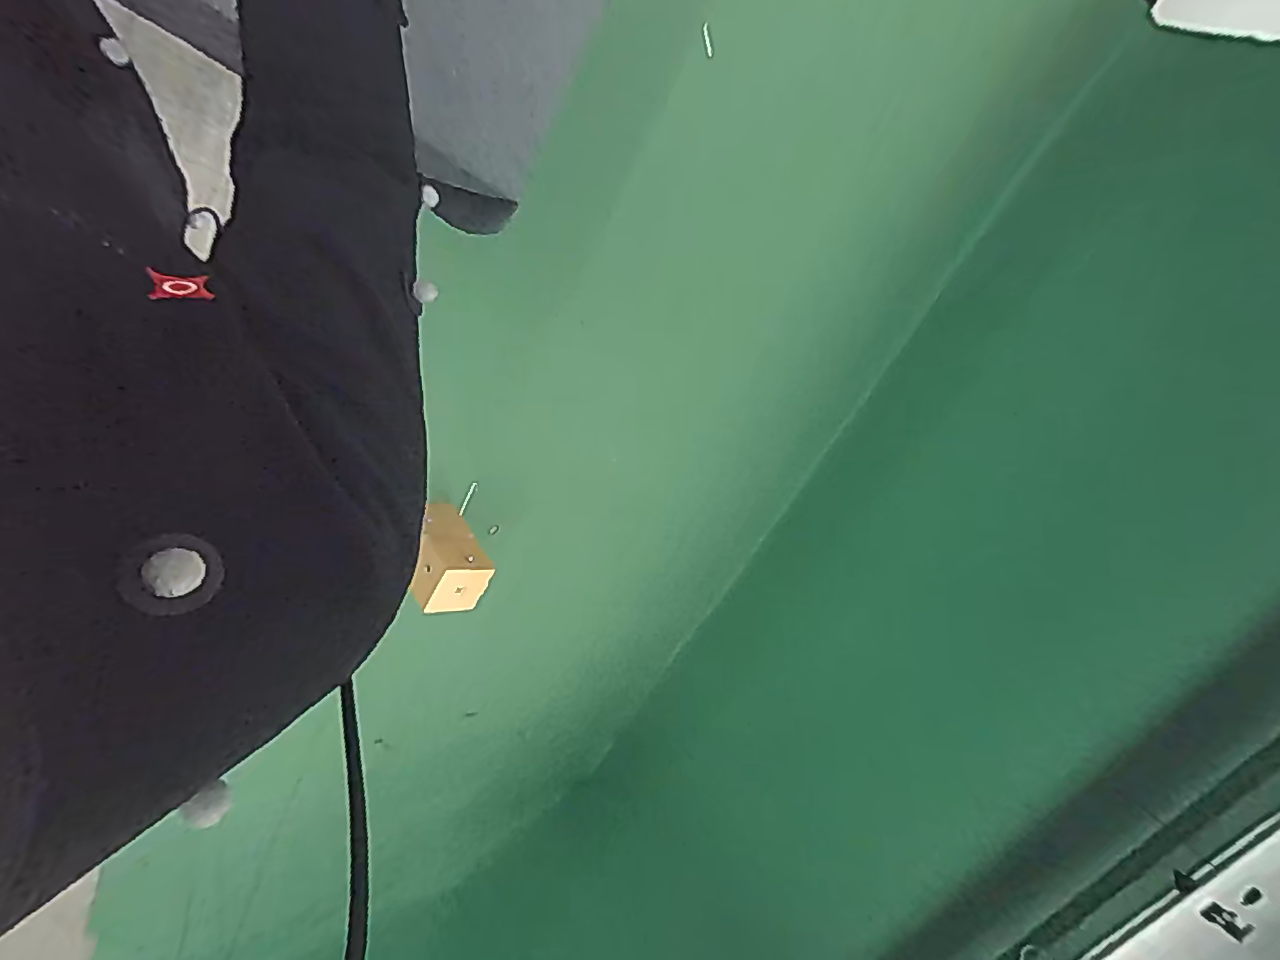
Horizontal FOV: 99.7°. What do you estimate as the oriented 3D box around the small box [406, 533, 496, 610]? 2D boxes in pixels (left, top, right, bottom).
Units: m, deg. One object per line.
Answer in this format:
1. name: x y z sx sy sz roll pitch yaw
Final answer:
1. small box: -0.583 0.276 1.656 0.179 0.176 0.168 11 116 -53
